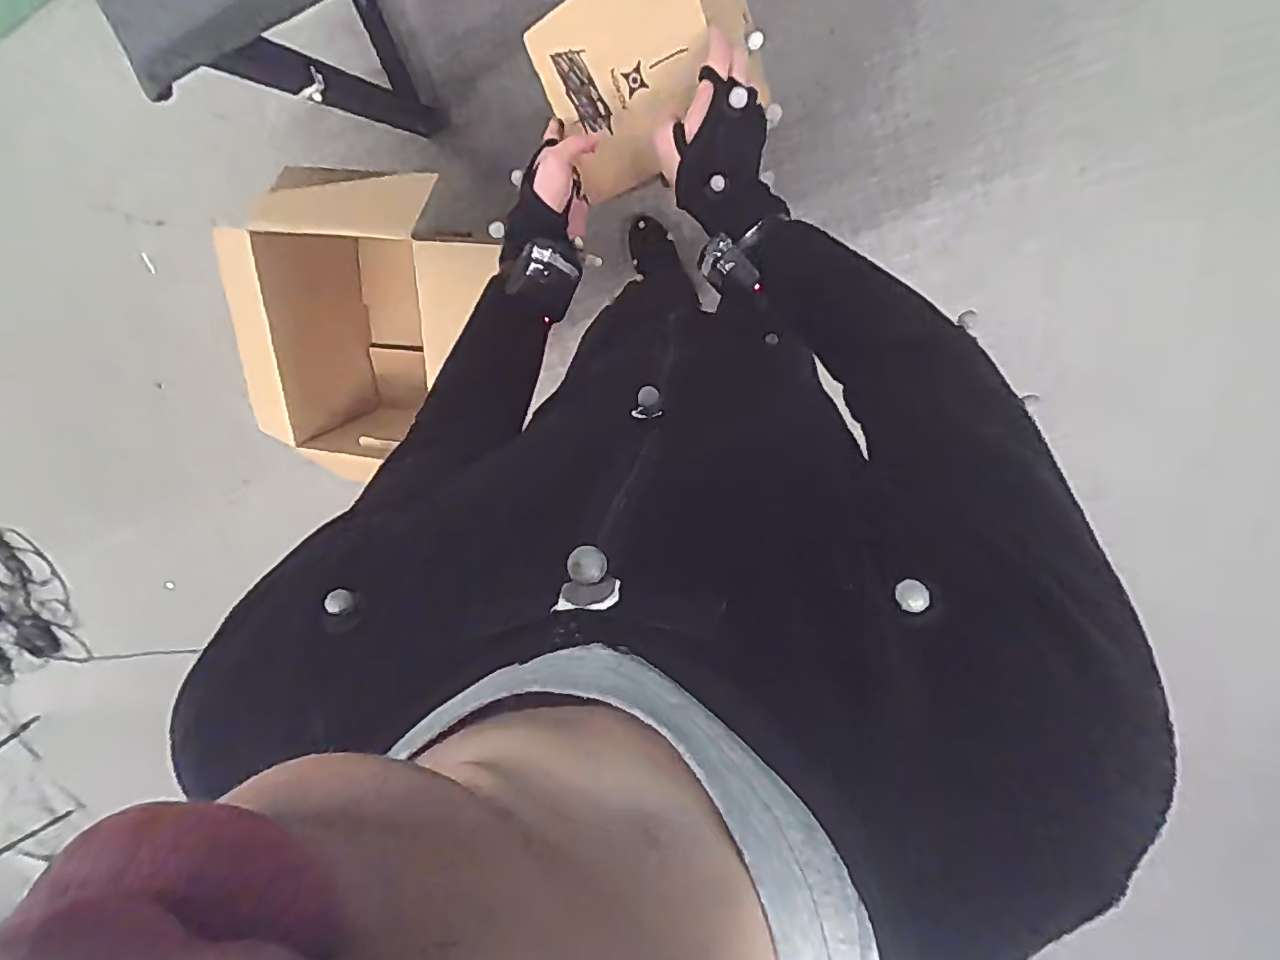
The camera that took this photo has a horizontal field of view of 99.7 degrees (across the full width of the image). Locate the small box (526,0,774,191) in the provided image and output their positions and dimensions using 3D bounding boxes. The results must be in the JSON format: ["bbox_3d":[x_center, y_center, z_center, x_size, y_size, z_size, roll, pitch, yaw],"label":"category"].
[{"bbox_3d":[0.022,-0.426,0.563,0.179,0.176,0.168,-8,119,31],"label":"small box"}]
